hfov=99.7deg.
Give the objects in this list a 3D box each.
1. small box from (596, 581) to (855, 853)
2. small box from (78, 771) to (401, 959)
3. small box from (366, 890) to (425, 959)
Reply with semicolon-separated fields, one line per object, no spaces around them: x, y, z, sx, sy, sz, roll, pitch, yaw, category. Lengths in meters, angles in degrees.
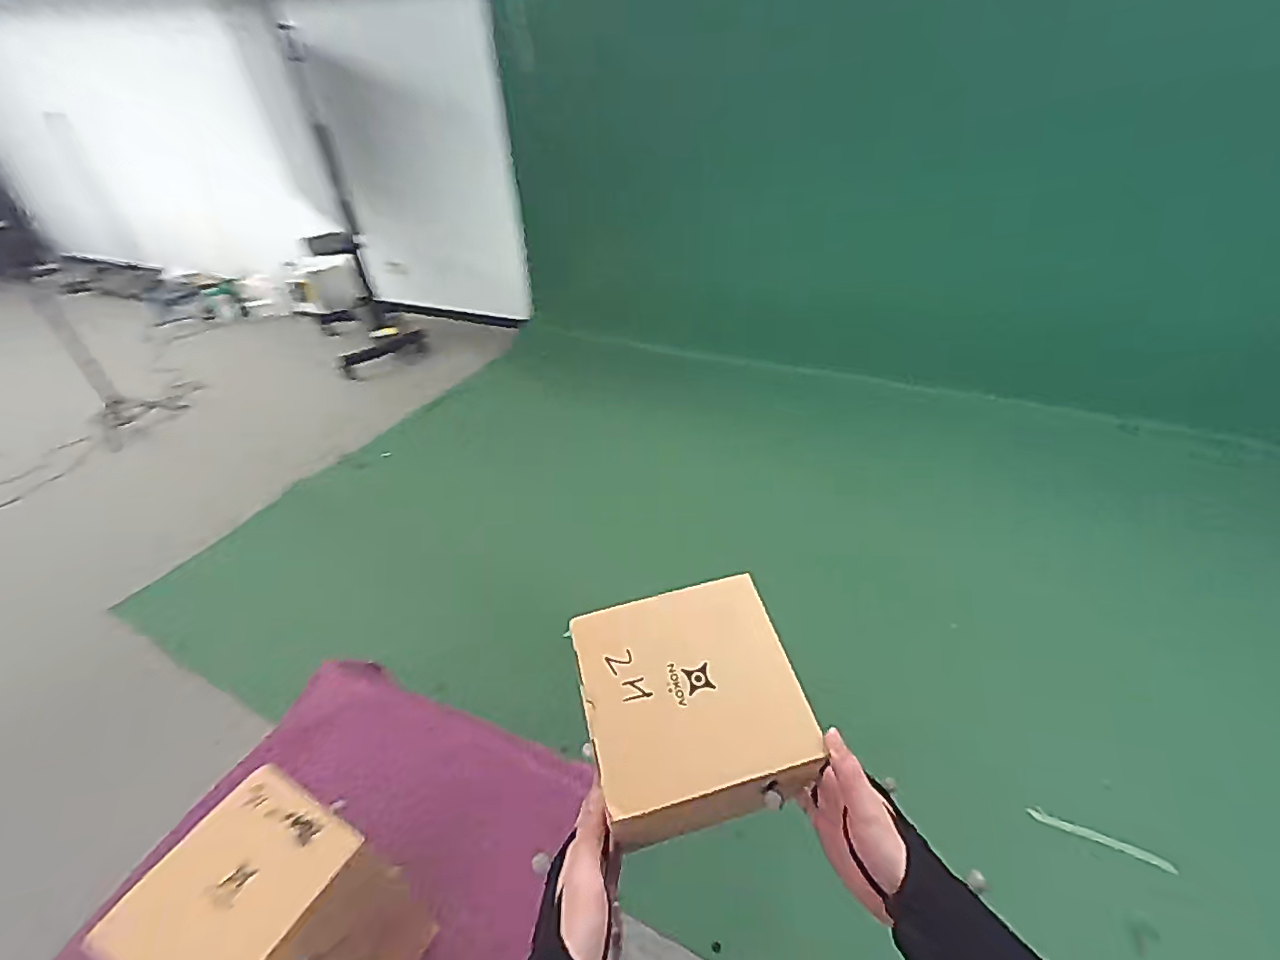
0.062;0.222;0.503;0.179;0.176;0.168;-11;49;-7;small box
-0.381;0.449;0.550;0.168;0.176;0.179;18;43;23;small box
-0.388;0.576;0.655;0.168;0.176;0.179;17;42;22;small box
